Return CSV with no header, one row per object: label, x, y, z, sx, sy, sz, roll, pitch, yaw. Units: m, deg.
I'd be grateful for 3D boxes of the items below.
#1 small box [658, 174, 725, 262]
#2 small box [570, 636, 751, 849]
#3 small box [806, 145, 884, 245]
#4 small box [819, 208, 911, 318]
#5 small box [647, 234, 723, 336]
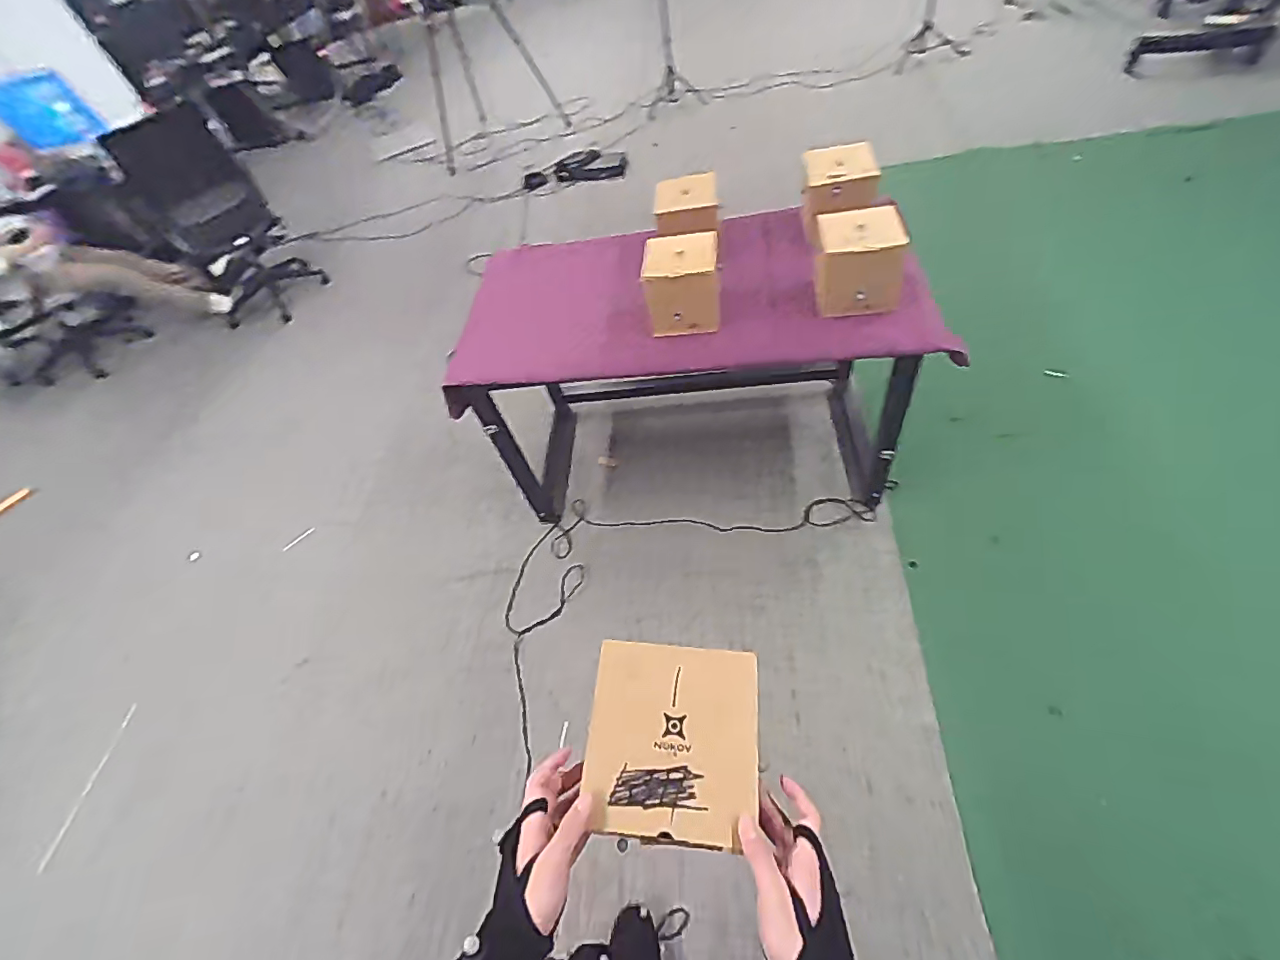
small box,0.149,-0.722,1.512,0.168,0.176,0.179,-2,55,12
small box,0.032,0.288,0.592,0.168,0.176,0.179,3,57,7
small box,0.540,-0.759,1.449,0.168,0.176,0.179,-4,54,12
small box,0.514,-0.501,1.259,0.168,0.176,0.179,-2,52,13
small box,0.117,-0.479,1.336,0.168,0.176,0.179,-1,53,11
